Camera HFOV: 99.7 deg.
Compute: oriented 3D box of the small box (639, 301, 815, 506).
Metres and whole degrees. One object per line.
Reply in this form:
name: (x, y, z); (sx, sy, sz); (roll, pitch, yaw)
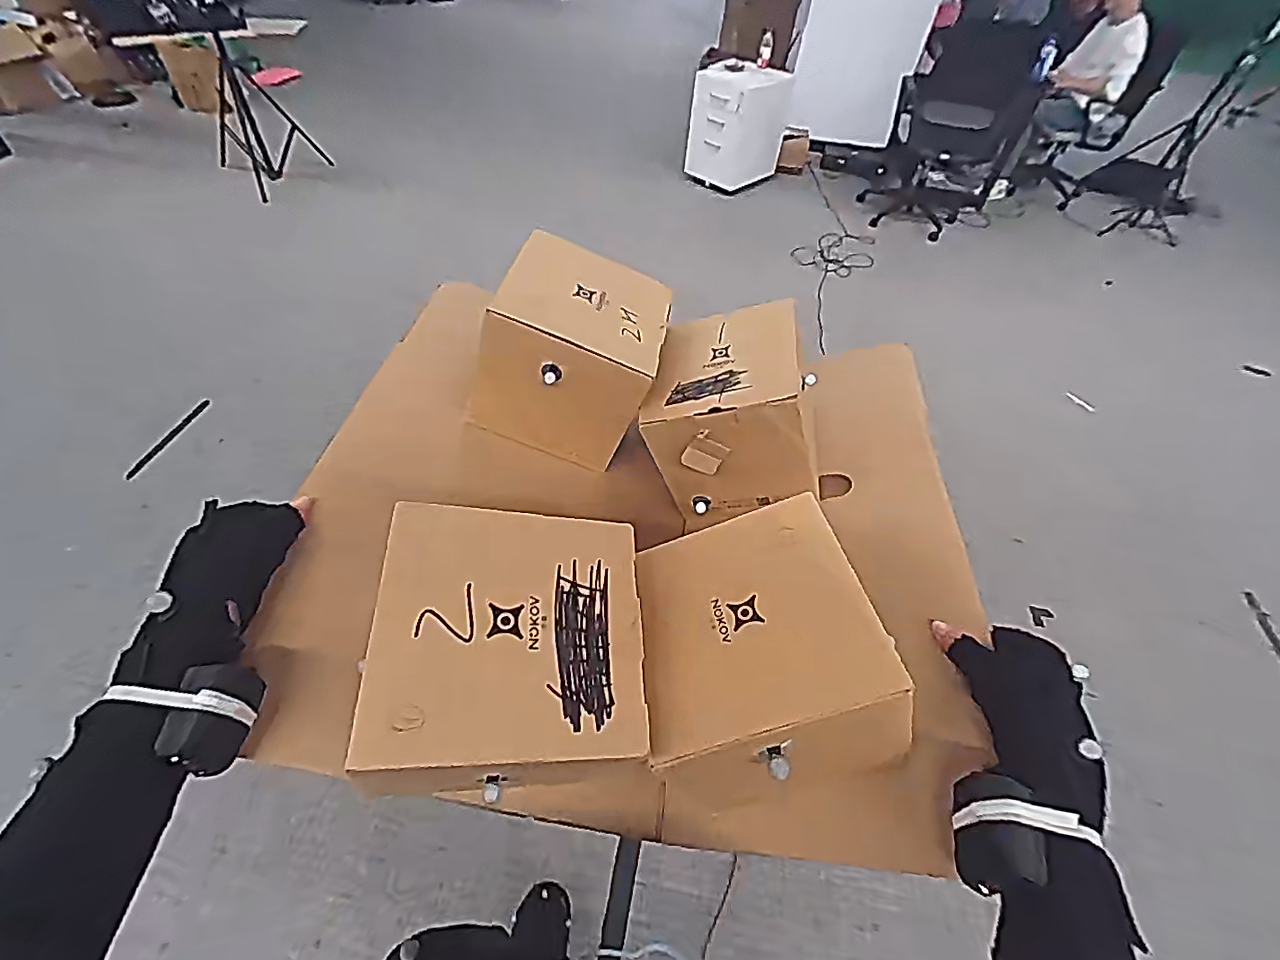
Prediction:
small box: (0.115, -0.081, 0.654); (0.168, 0.176, 0.179); (-6, 47, 22)
